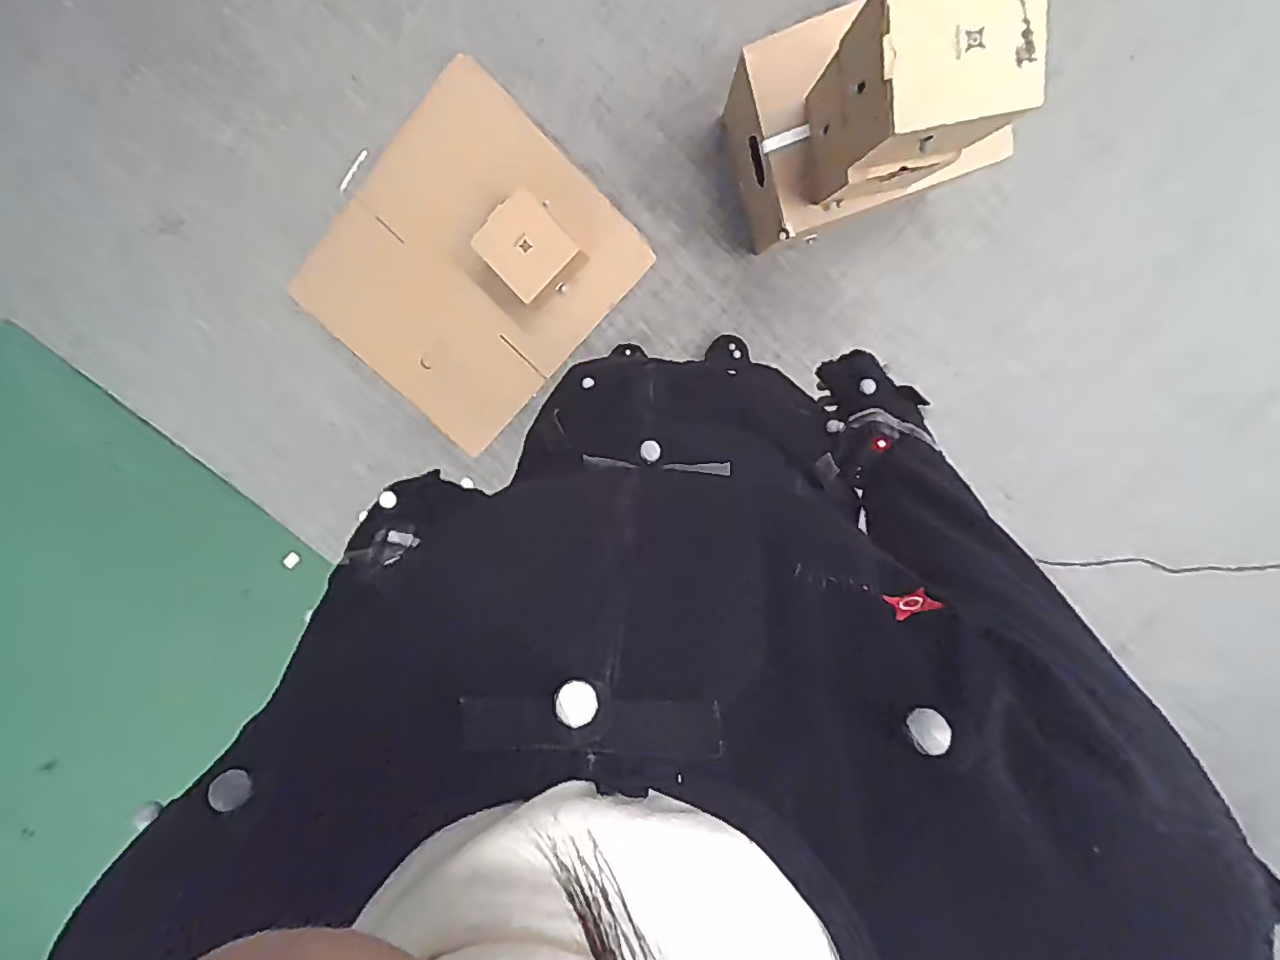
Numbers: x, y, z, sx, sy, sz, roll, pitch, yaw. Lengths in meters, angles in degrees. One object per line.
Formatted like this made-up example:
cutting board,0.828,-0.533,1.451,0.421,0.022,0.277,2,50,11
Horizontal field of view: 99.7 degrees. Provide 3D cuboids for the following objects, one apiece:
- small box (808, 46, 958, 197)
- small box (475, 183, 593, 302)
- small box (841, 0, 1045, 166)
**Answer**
small box,0.373,-0.562,0.849,0.168,0.176,0.179,-10,106,5
small box,-0.226,-0.512,1.200,0.168,0.176,0.179,-42,101,14
small box,0.370,-0.529,0.691,0.179,0.176,0.168,-12,104,5
